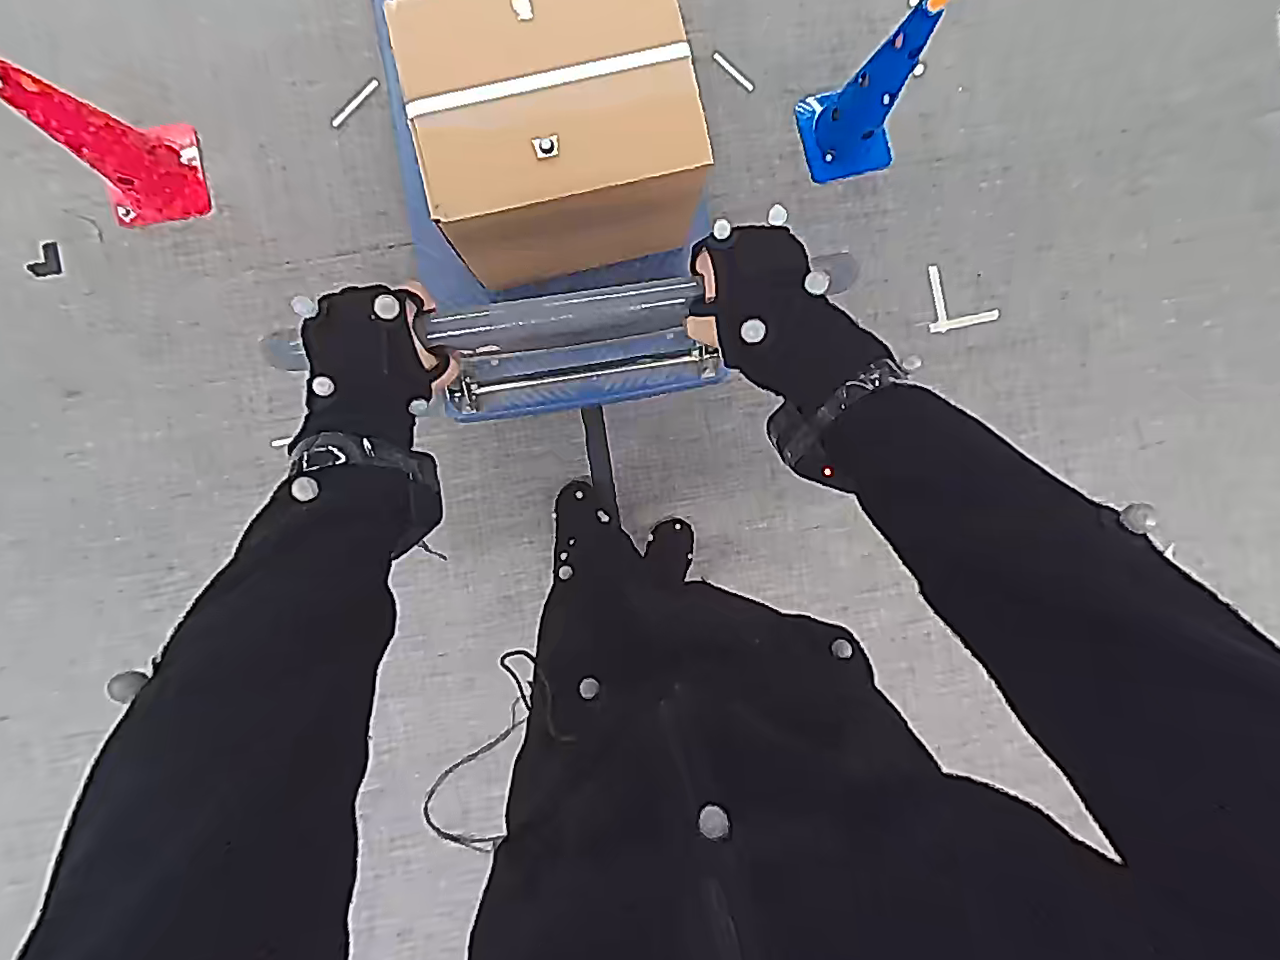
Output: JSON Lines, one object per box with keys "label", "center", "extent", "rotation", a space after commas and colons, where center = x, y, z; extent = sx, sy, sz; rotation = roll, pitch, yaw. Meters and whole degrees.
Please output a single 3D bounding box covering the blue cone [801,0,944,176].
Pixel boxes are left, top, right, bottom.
{"label": "blue cone", "center": [0.491, -0.810, 1.096], "extent": [0.193, 0.380, 0.192], "rotation": [-14, 91, -3]}
